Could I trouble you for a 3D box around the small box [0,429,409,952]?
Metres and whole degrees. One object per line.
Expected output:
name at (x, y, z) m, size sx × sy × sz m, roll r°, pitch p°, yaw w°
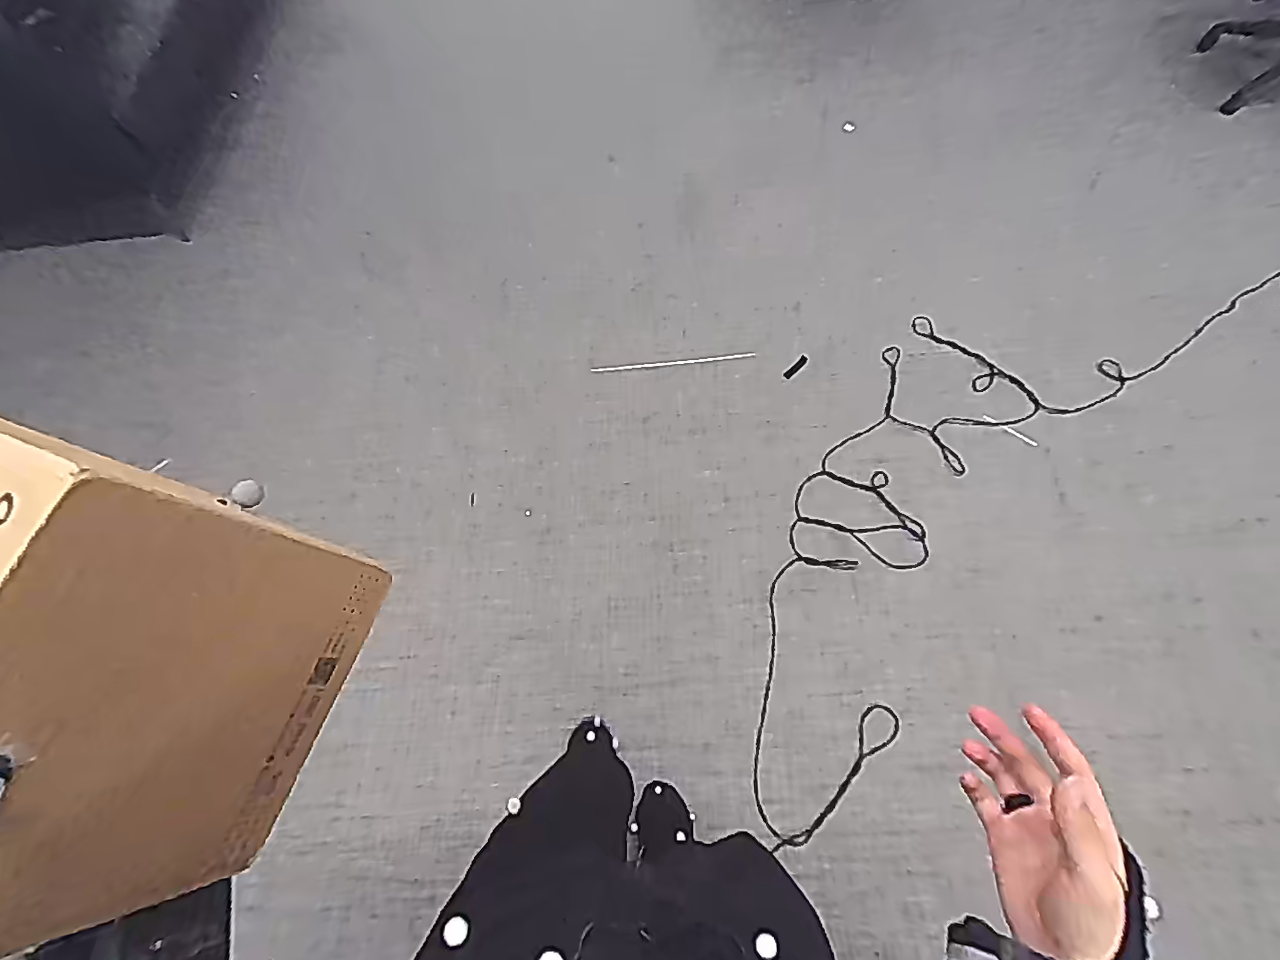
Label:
small box at (-0.256, 0.086, 0.257) m, size 0.179 × 0.176 × 0.168 m, roll 15°, pitch 73°, yaw 18°
